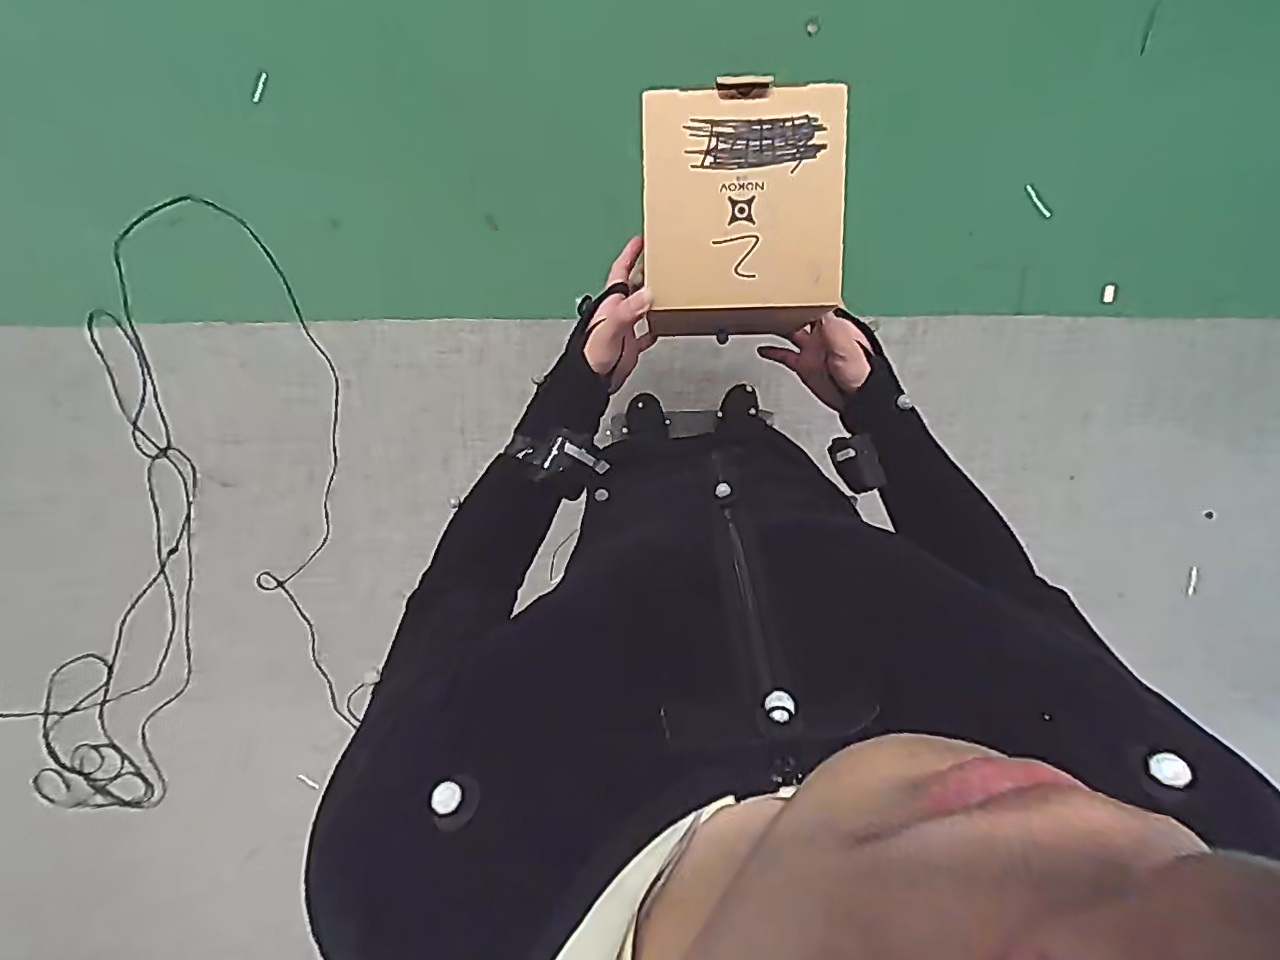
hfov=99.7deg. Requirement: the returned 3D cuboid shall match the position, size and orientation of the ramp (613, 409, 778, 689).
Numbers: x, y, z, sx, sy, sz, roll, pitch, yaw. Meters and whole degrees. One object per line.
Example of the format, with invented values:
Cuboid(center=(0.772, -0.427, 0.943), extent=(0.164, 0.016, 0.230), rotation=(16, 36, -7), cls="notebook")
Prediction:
Cuboid(center=(0.176, 0.268, 1.753), extent=(0.509, 0.206, 0.991), rotation=(-3, 100, 0), cls="ramp")
